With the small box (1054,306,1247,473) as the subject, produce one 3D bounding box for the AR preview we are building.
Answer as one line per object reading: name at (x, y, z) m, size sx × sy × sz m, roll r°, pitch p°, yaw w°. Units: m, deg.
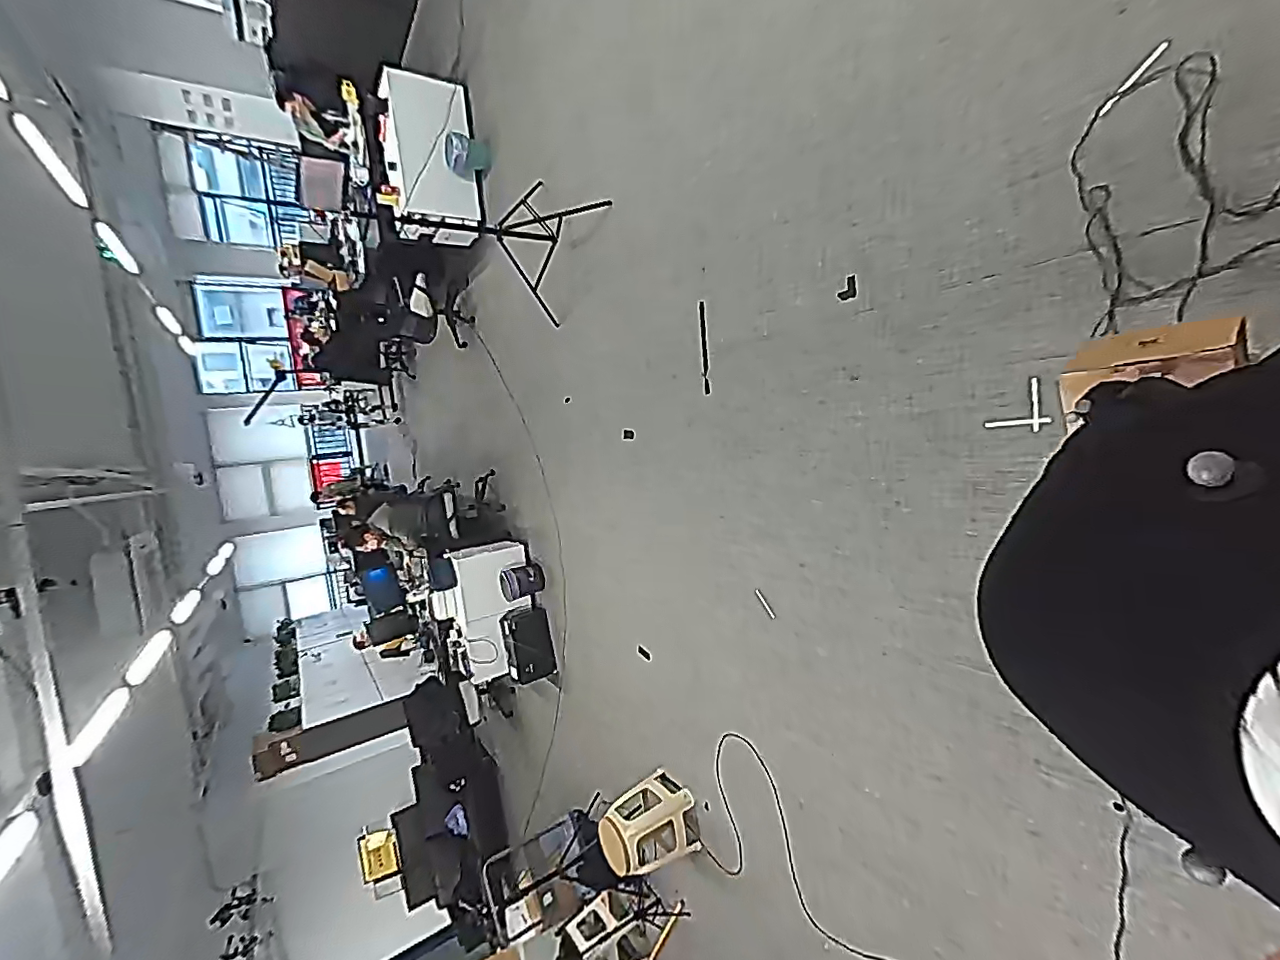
small box at (0.709, -0.116, 0.748) m, size 0.168 × 0.179 × 0.176 m, roll -3°, pitch 114°, yaw 52°
